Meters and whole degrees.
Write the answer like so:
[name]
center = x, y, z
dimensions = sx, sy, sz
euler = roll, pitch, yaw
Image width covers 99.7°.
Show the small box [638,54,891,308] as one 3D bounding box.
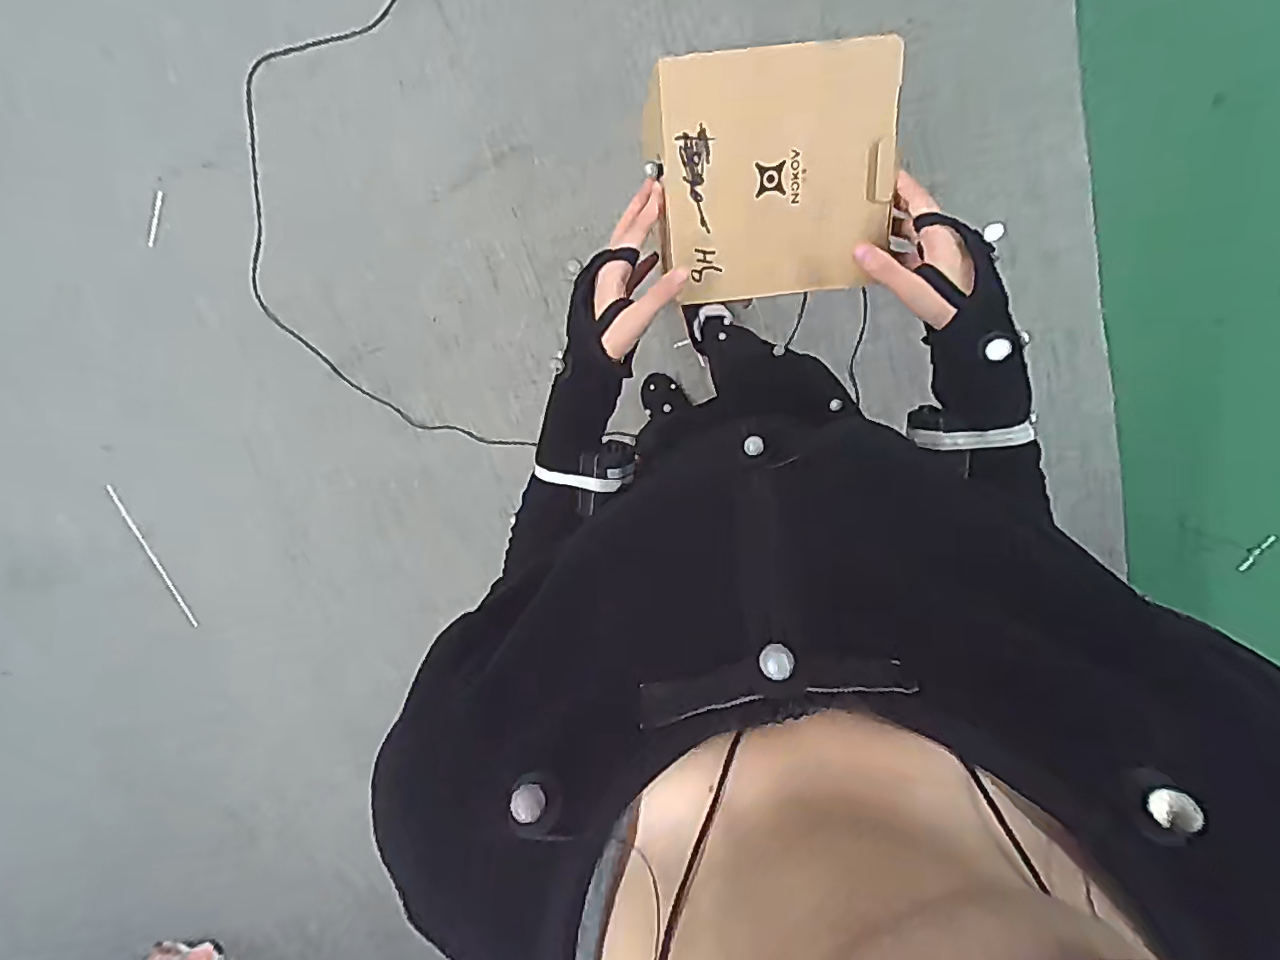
[small box]
center = 0.094, -0.249, 0.486
dimensions = 0.179, 0.176, 0.168
euler = -5, 109, -2
